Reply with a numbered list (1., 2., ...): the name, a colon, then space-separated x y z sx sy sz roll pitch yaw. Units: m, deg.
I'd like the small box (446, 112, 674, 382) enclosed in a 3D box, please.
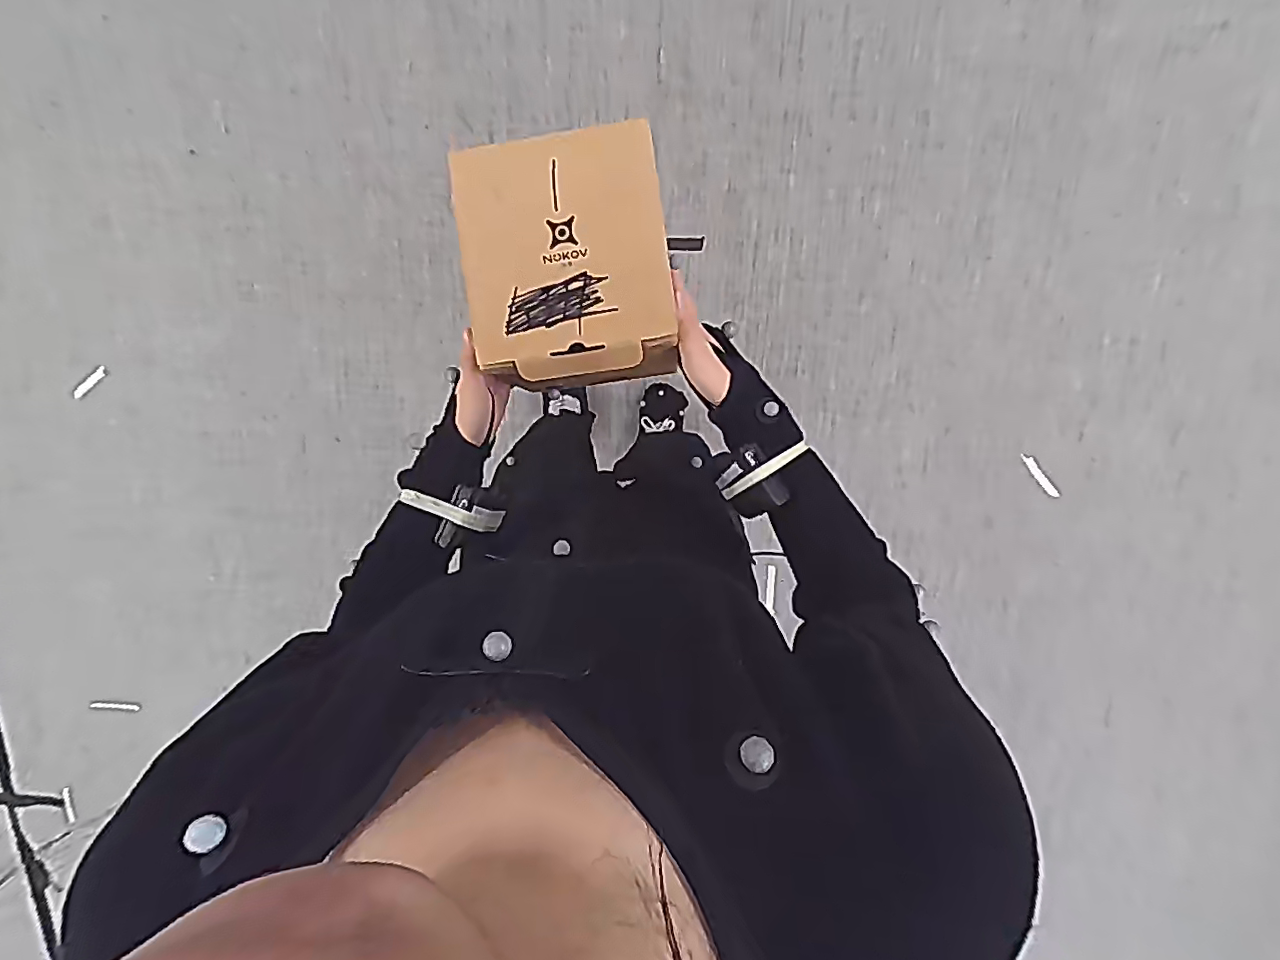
1. small box: -0.059 -0.193 0.506 0.168 0.176 0.179 -7 91 4
